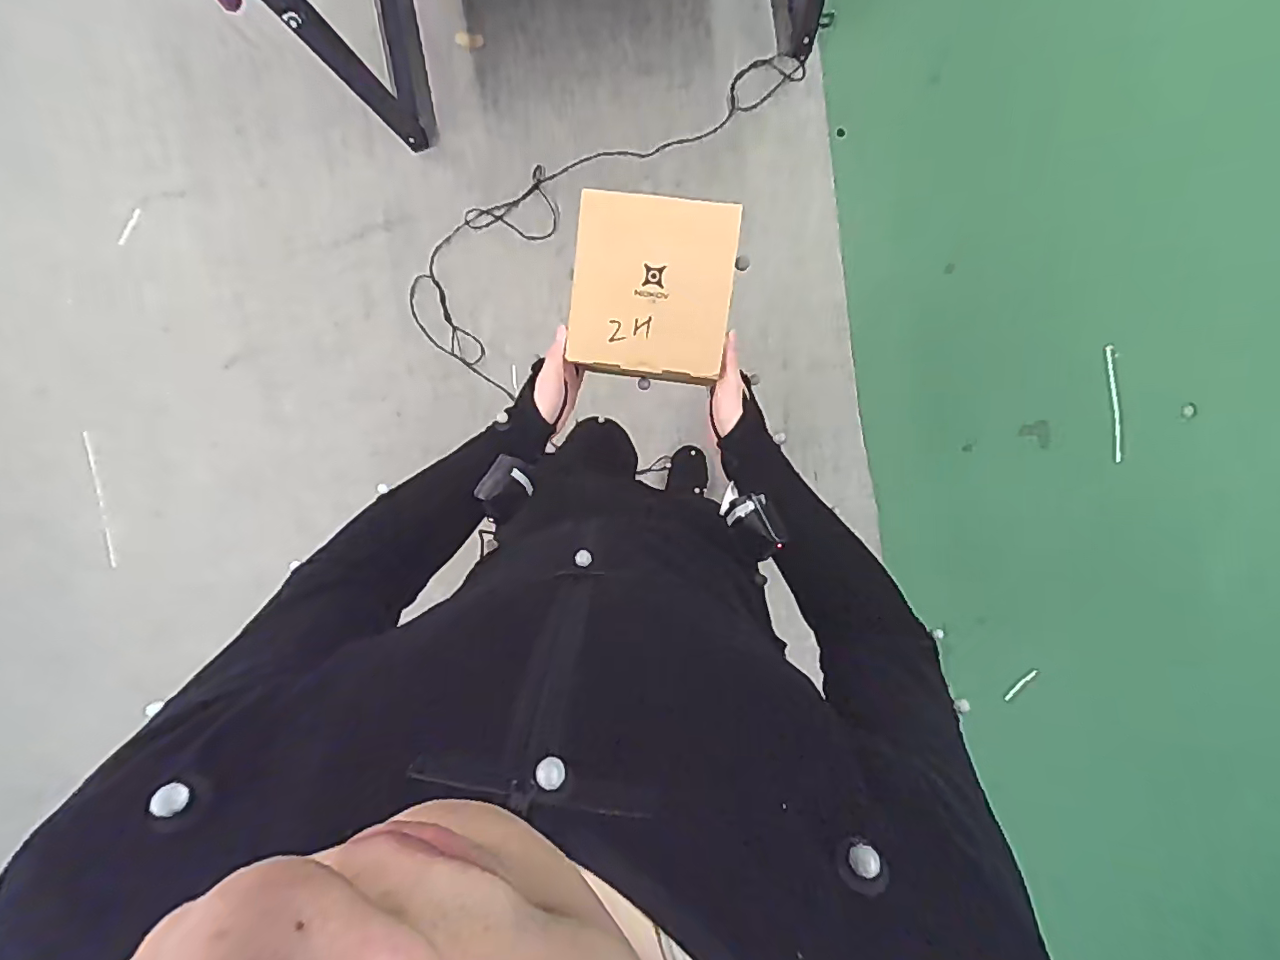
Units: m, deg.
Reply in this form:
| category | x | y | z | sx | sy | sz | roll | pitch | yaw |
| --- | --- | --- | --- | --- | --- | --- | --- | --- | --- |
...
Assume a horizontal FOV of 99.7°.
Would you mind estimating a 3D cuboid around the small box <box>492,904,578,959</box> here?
| category | x | y | z | sx | sy | sz | roll | pitch | yaw |
| --- | --- | --- | --- | --- | --- | --- | --- | --- | --- |
| small box | -0.244 | 1.155 | 1.271 | 0.168 | 0.176 | 0.179 | -1 | 94 | 6 |

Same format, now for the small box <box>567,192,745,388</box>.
| category | x | y | z | sx | sy | sz | roll | pitch | yaw |
| --- | --- | --- | --- | --- | --- | --- | --- | --- | --- |
| small box | 0.017 | -0.208 | 0.639 | 0.168 | 0.176 | 0.179 | 8 | 98 | 1 |
